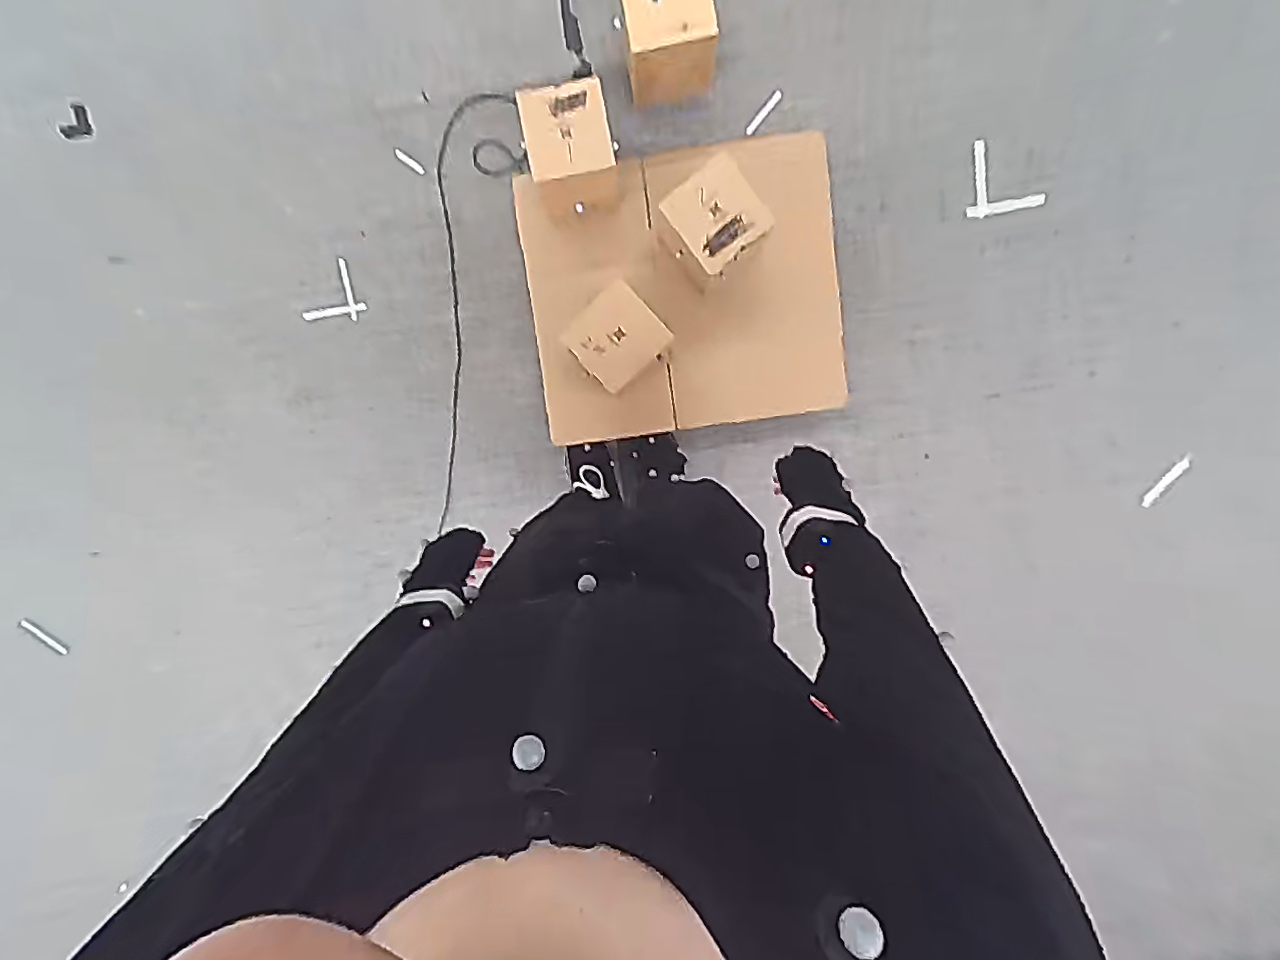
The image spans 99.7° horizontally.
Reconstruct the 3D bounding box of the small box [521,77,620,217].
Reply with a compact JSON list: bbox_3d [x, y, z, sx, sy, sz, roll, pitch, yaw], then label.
[{"bbox_3d":[-0.137,-0.680,1.122,0.168,0.176,0.179,-11,92,1],"label":"small box"}]

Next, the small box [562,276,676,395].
[{"bbox_3d":[-0.045,-0.302,1.168,0.179,0.176,0.168,-43,95,4],"label":"small box"}]
